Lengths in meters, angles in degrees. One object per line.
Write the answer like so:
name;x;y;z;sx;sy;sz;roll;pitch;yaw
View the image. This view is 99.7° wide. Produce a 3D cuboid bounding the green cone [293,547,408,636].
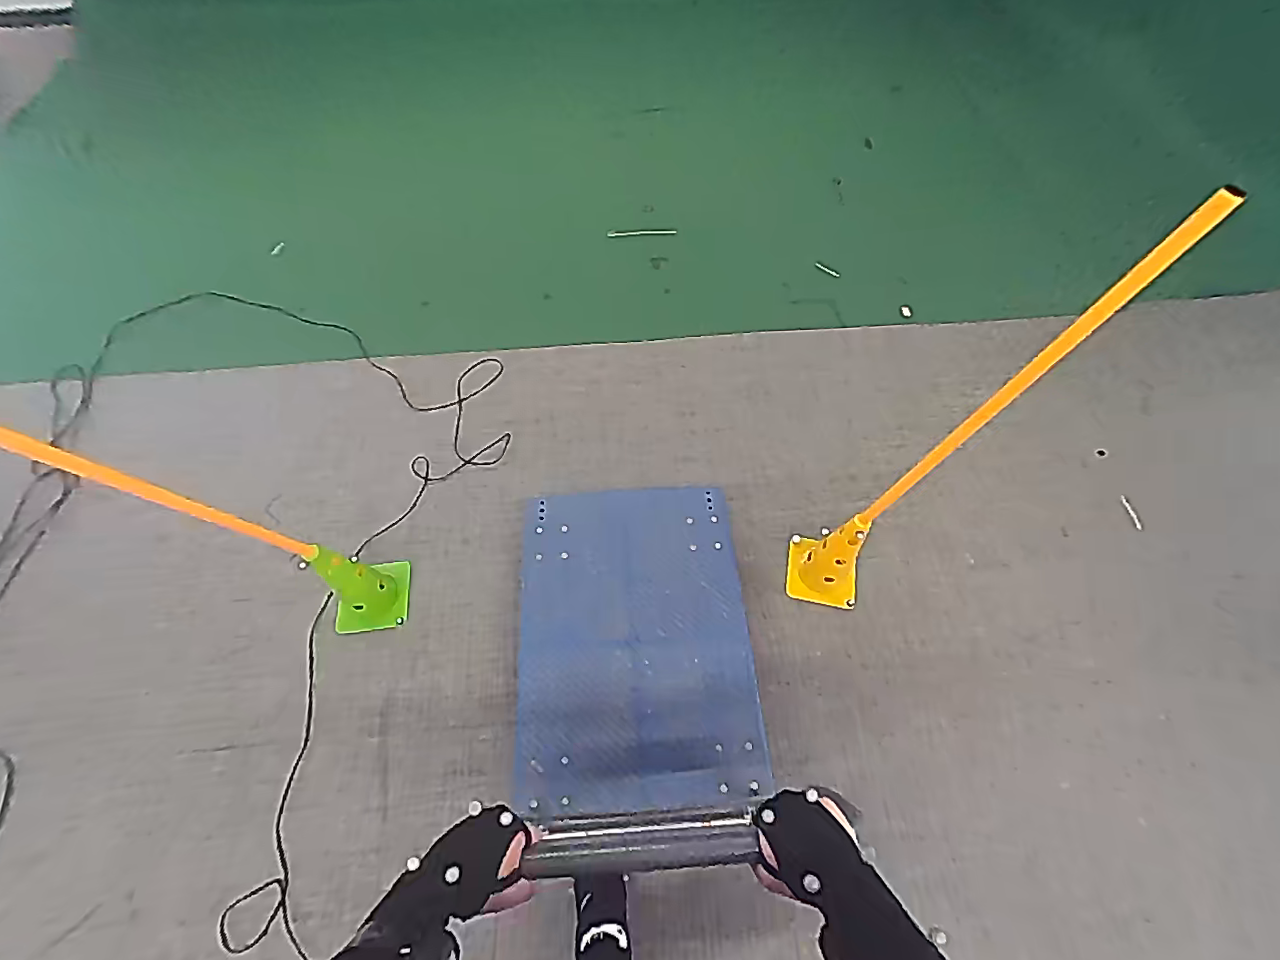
green cone;-0.790;0.260;1.433;0.202;0.368;0.200;-8;60;-3
